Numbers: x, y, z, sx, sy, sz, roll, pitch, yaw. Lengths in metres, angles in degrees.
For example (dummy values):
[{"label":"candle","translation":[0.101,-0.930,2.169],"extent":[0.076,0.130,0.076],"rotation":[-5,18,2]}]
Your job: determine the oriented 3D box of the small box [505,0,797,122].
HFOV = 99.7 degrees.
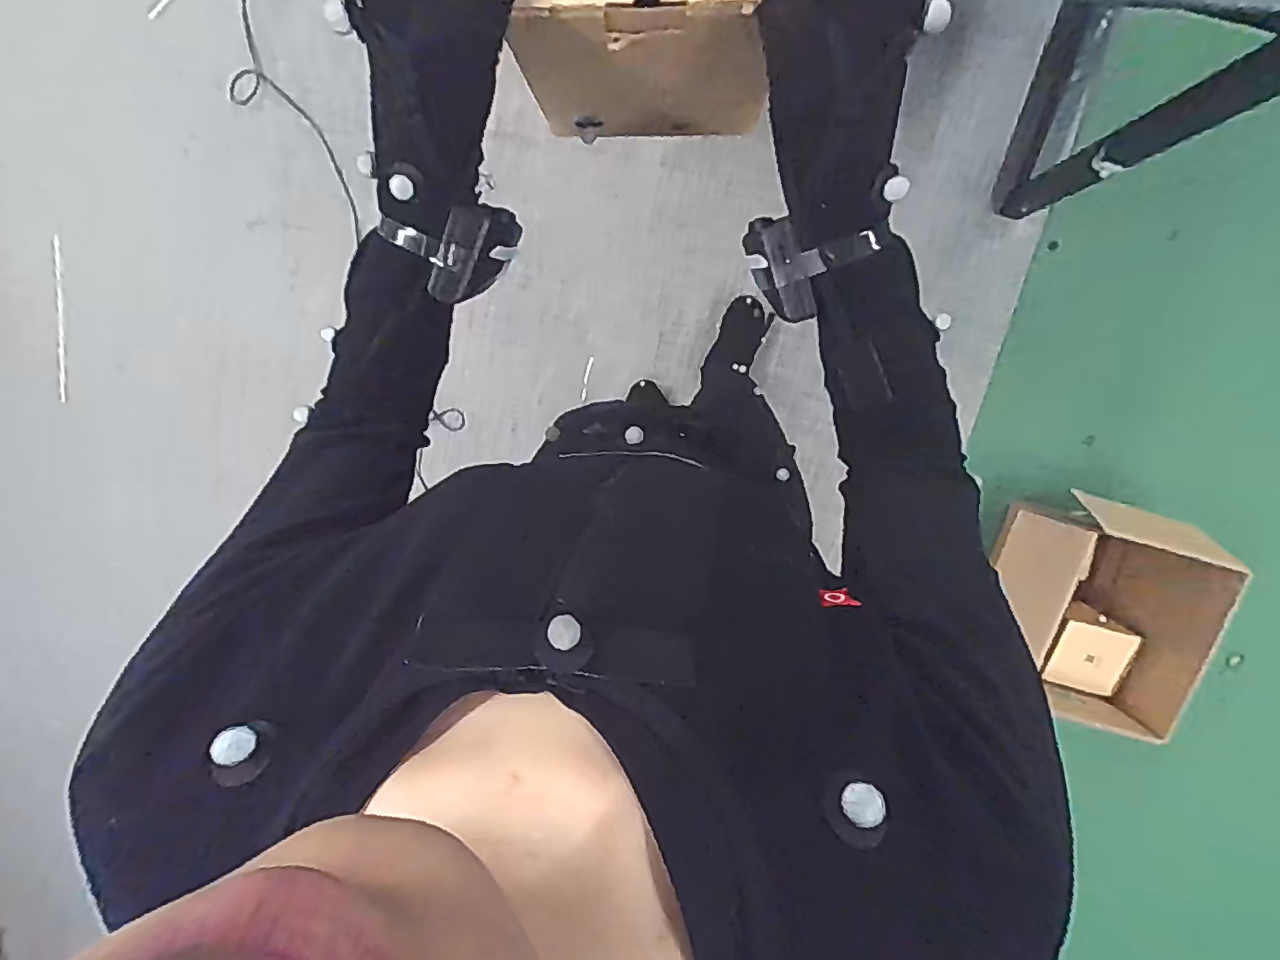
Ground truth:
[{"label":"small box","translation":[0.014,-0.354,0.343],"extent":[0.168,0.176,0.179],"rotation":[1,102,2]}]
